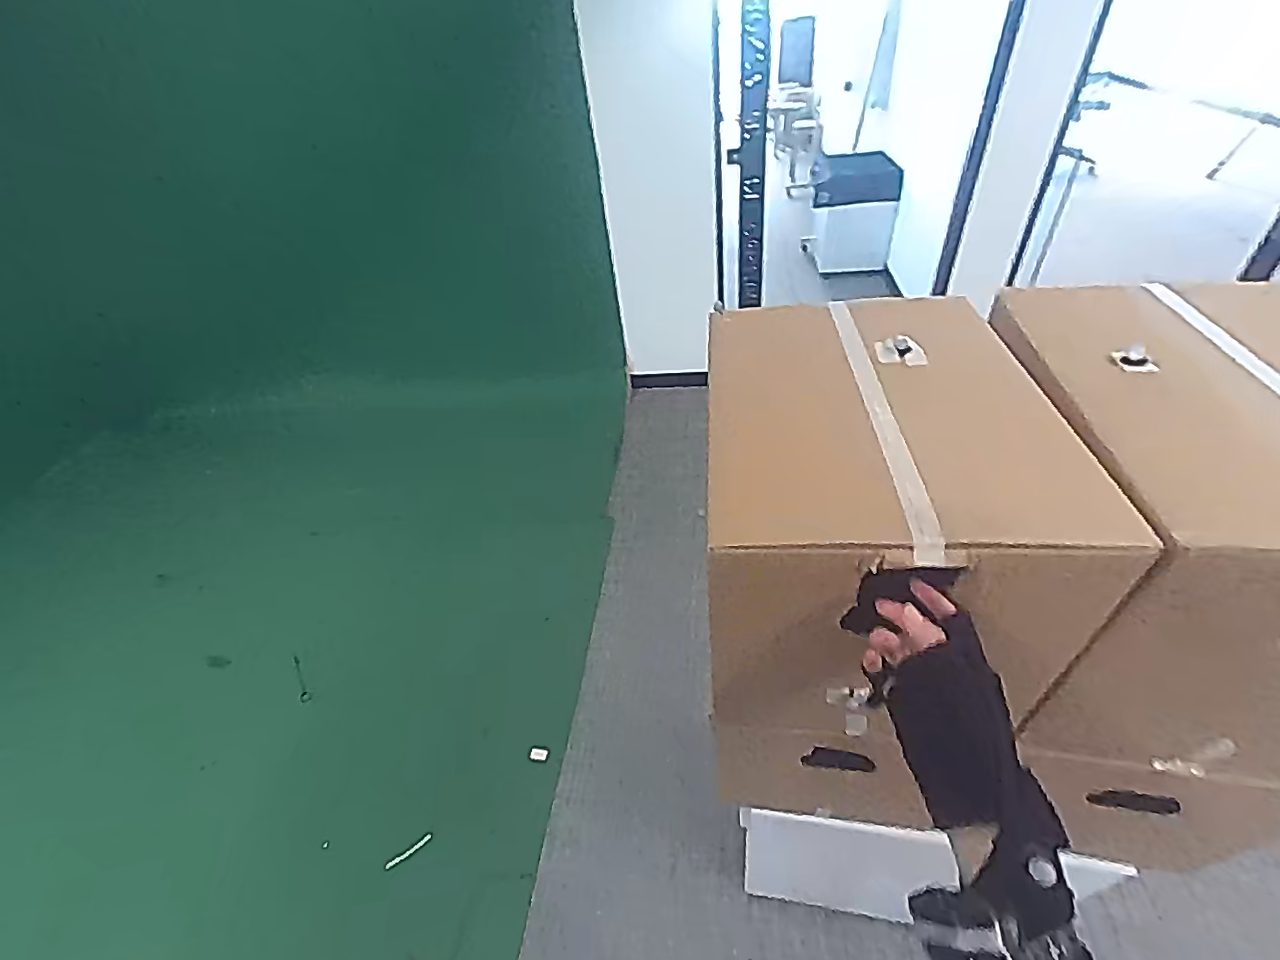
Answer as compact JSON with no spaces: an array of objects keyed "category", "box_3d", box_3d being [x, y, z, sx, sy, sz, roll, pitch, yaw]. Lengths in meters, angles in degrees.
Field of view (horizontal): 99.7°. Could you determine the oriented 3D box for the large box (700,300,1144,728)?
[{"category":"large box","box_3d":[0.236,0.027,0.636,0.320,0.320,0.408,-1,41,8]}]
